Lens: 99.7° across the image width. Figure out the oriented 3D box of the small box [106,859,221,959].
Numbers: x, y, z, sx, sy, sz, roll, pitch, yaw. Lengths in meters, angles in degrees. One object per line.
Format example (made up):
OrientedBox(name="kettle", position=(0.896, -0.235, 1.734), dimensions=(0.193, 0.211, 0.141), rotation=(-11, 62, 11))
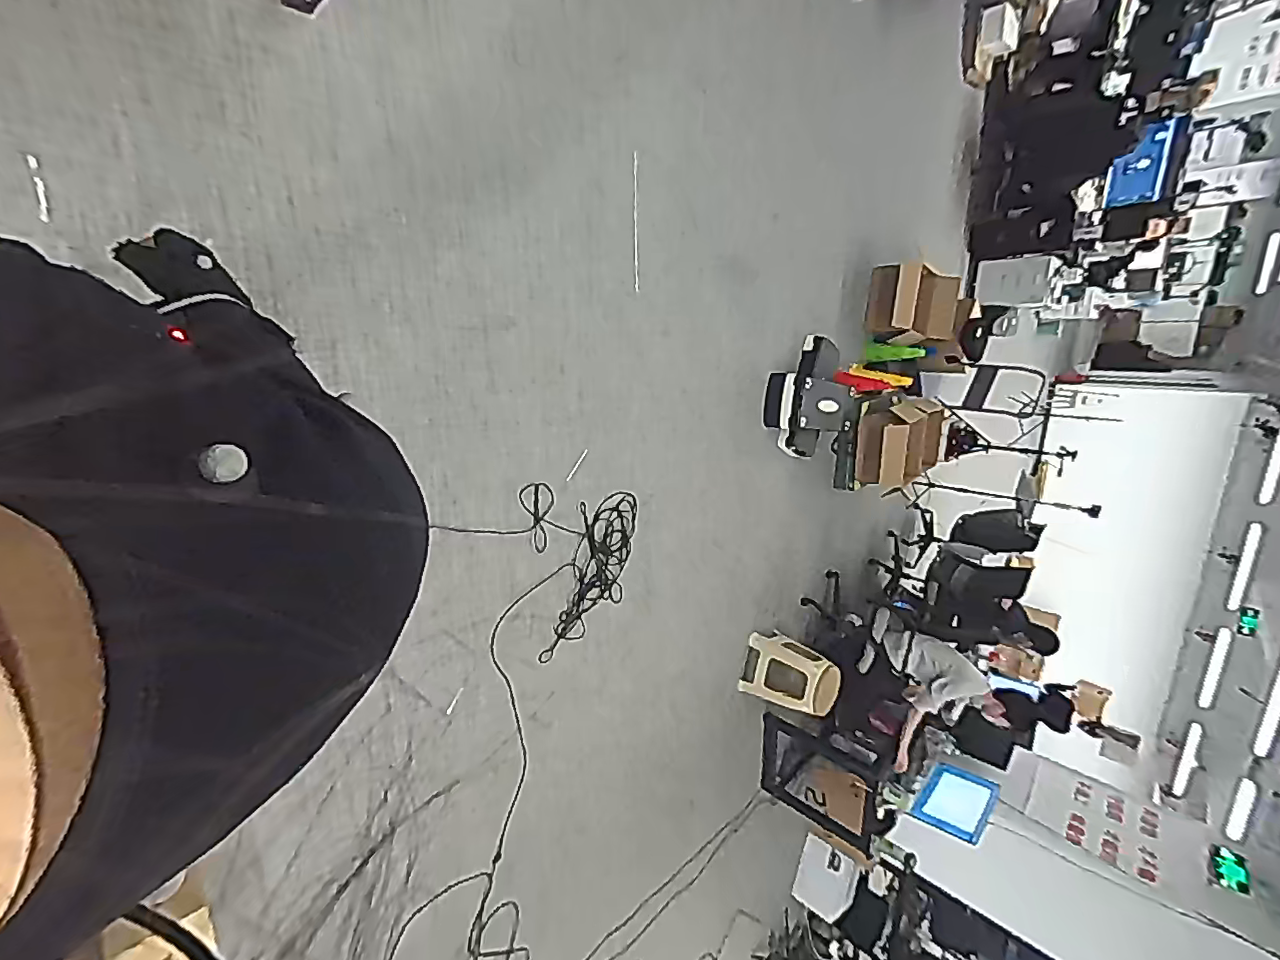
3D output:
OrientedBox(name="small box", position=(-1.076, 1.007, 1.221), dimensions=(0.168, 0.176, 0.179), rotation=(-13, 109, -44))
